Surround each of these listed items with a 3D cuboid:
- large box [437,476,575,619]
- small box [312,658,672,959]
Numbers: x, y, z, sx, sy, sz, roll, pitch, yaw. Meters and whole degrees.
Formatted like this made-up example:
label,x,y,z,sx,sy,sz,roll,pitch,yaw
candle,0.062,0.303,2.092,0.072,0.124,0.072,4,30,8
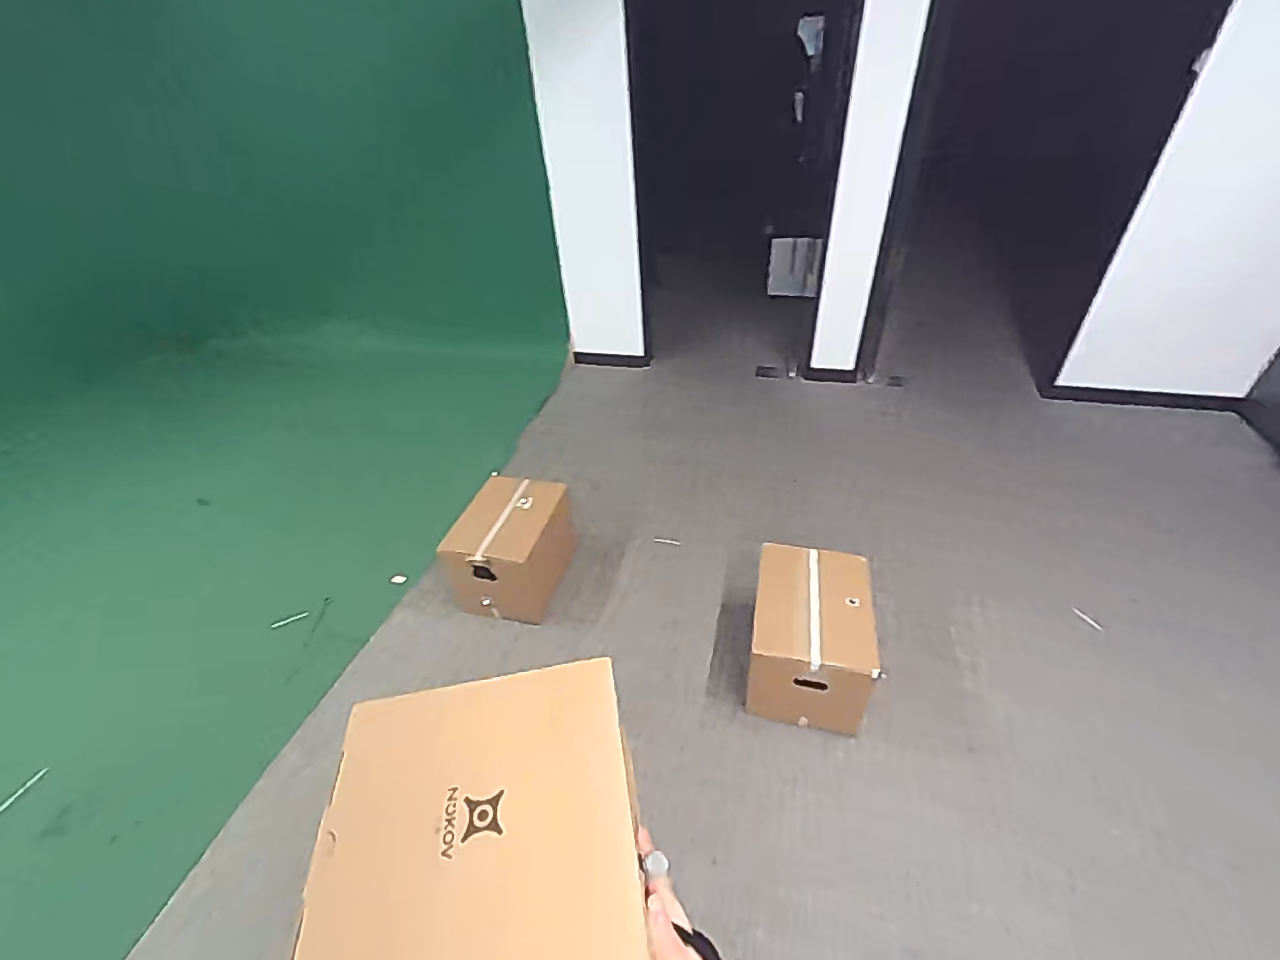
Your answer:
label,x,y,z,sx,sy,sz,roll,pitch,yaw
large box,-0.456,0.235,1.942,0.320,0.320,0.408,6,39,13
small box,-0.076,0.246,0.359,0.179,0.176,0.168,-10,43,-3
